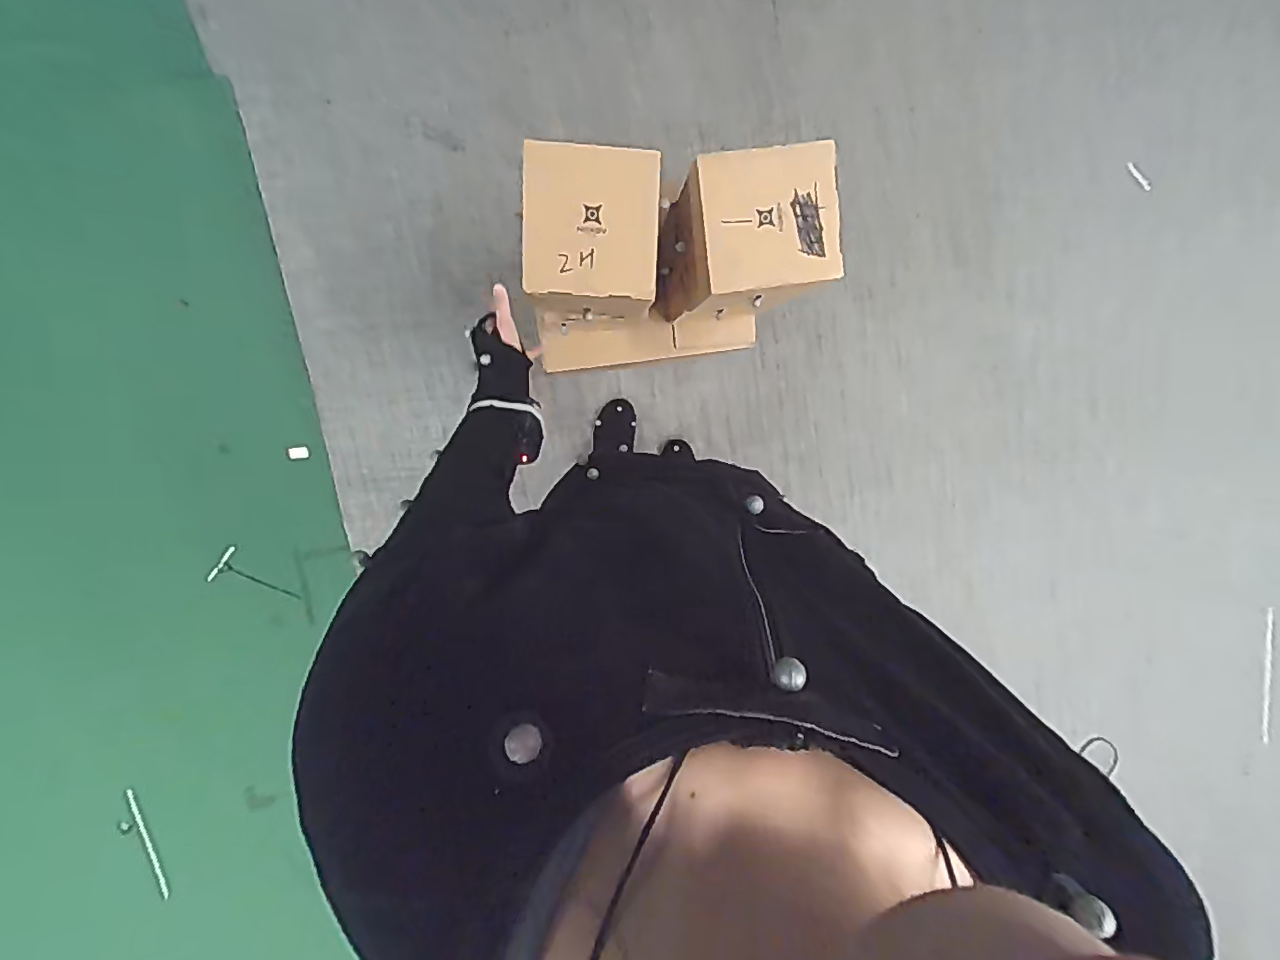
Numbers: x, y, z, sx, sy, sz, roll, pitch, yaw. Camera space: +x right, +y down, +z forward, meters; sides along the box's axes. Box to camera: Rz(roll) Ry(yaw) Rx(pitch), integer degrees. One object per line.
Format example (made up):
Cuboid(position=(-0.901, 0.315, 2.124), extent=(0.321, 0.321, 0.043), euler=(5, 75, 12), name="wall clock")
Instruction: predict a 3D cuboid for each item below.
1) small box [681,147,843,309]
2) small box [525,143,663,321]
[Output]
Cuboid(position=(0.161, -0.337, 0.750), extent=(0.179, 0.176, 0.168), euler=(-6, 101, -3), name="small box")
Cuboid(position=(-0.065, -0.324, 0.739), extent=(0.168, 0.176, 0.179), euler=(2, 99, -5), name="small box")
